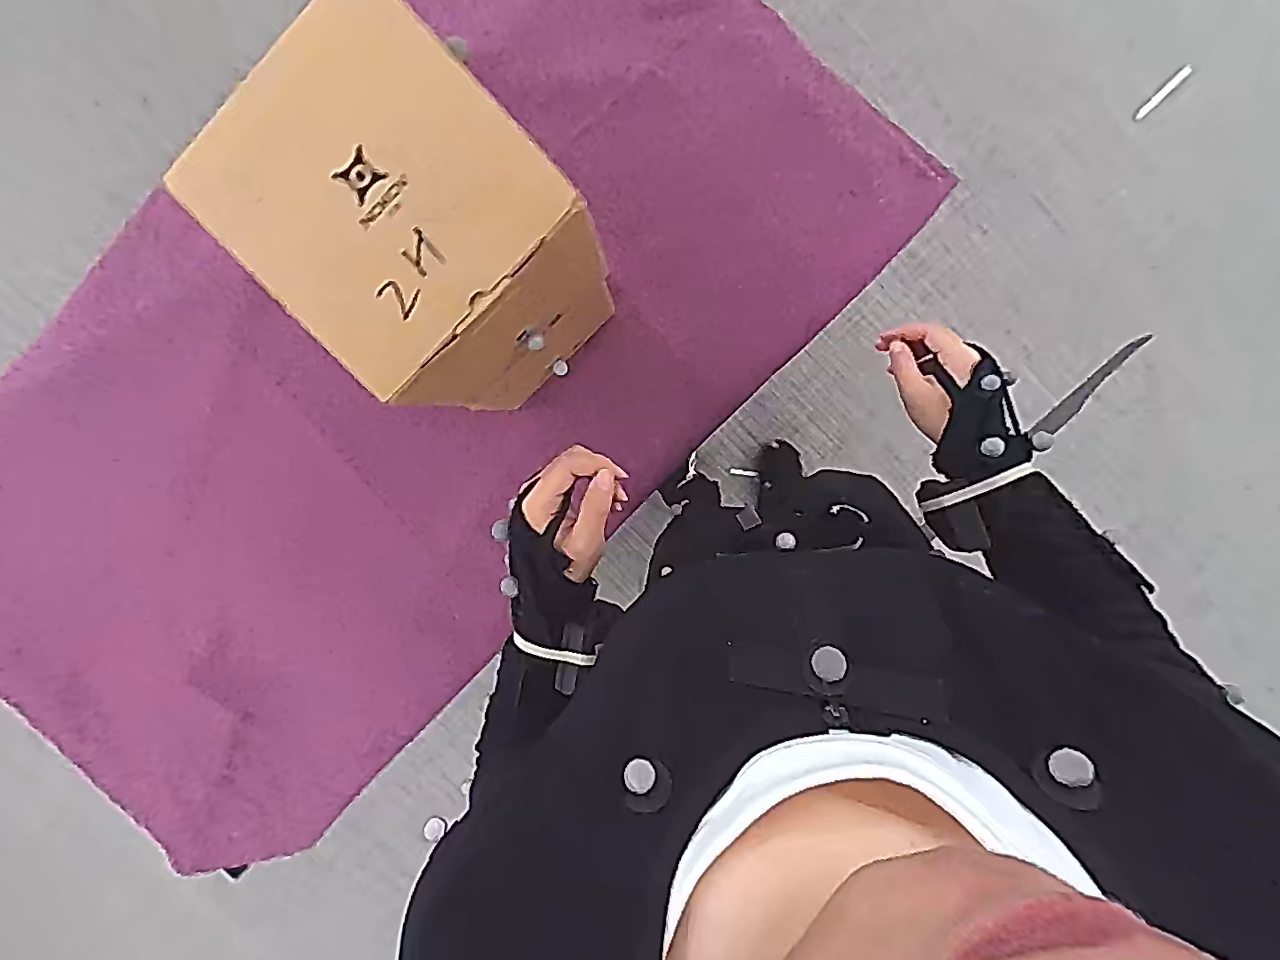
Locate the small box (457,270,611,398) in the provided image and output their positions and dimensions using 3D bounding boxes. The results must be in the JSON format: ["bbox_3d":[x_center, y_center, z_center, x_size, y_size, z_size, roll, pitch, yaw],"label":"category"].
[{"bbox_3d":[-0.147,-0.194,0.543,0.168,0.176,0.179,-43,95,6],"label":"small box"}]

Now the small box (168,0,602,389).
[{"bbox_3d":[-0.146,-0.177,0.379,0.168,0.176,0.179,-43,95,7],"label":"small box"}]
